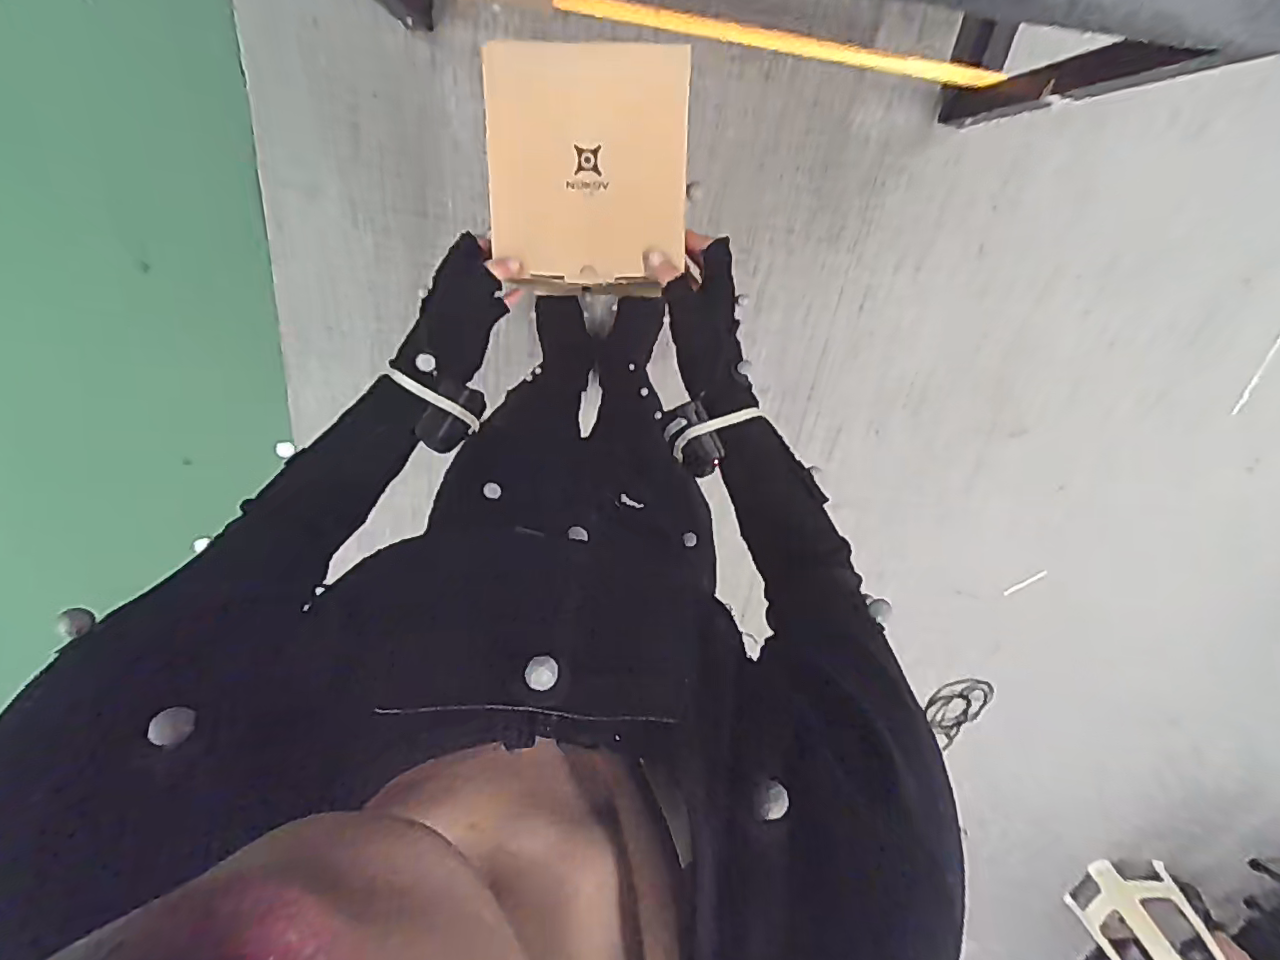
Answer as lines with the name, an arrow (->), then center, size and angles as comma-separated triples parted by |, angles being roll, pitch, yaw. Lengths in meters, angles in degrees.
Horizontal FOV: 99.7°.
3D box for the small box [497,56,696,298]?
small box -> -0.037, -0.280, 0.537 | 0.168, 0.176, 0.179 | 1, 106, 1
